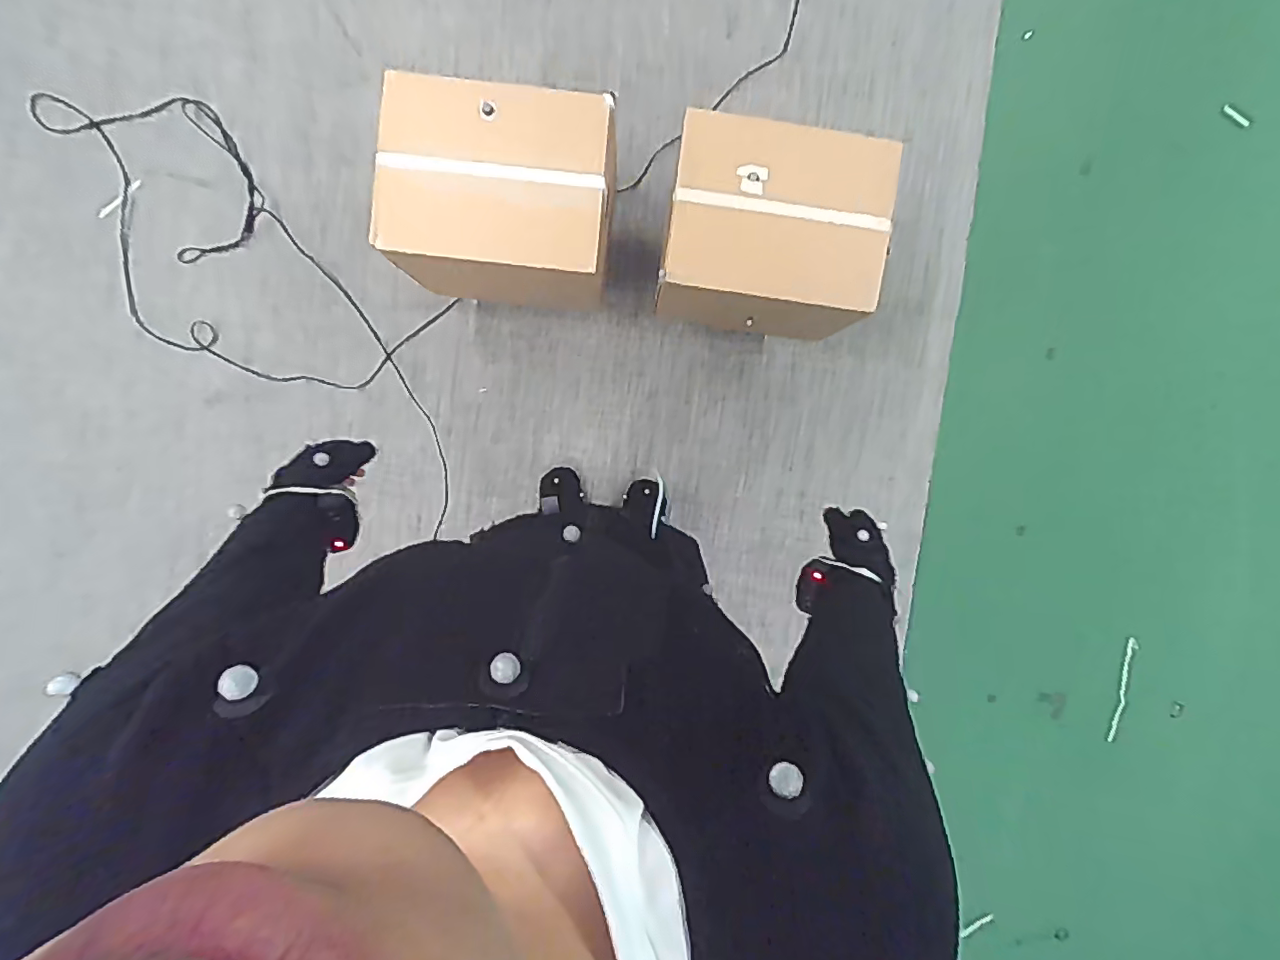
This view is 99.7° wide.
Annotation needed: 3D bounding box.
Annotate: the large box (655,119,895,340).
[{"bbox_3d":[0.257,-0.501,1.156,0.408,0.320,0.320,8,94,-2],"label":"large box"}]
